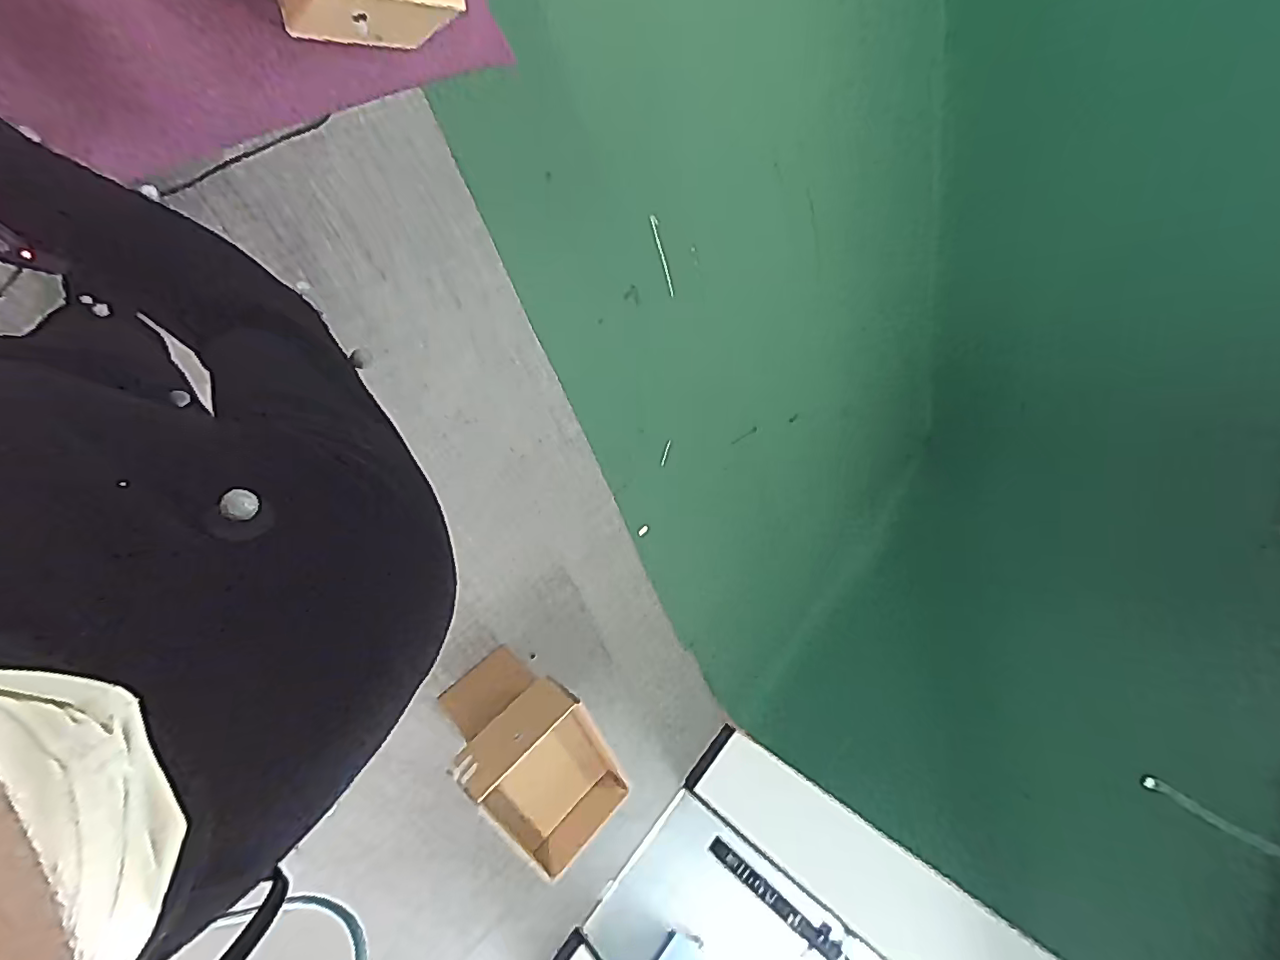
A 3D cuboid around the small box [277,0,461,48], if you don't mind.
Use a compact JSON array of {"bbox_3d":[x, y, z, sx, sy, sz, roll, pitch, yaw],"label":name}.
[{"bbox_3d":[-0.336,-0.636,0.628,0.168,0.176,0.179,-26,121,-35],"label":"small box"}]
